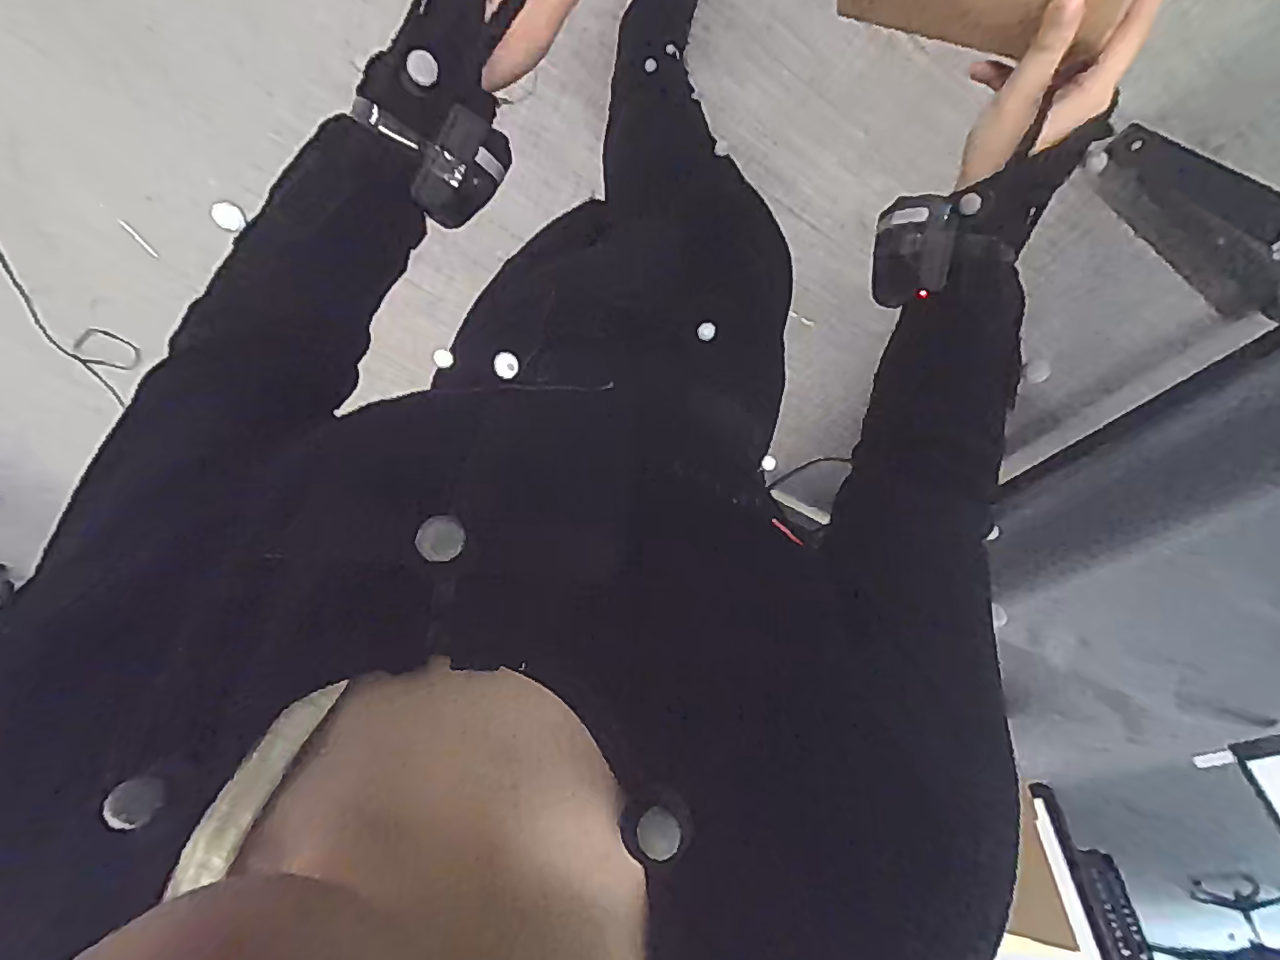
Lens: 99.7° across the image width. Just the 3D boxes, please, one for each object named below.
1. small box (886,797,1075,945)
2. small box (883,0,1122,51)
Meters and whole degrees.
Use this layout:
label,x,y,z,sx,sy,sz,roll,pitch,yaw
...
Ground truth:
label,x,y,z,sx,sy,sz,roll,pitch,yaw
small box,0.529,0.625,0.868,0.179,0.176,0.168,26,135,-19
small box,0.219,-0.379,0.274,0.176,0.179,0.168,33,179,21
